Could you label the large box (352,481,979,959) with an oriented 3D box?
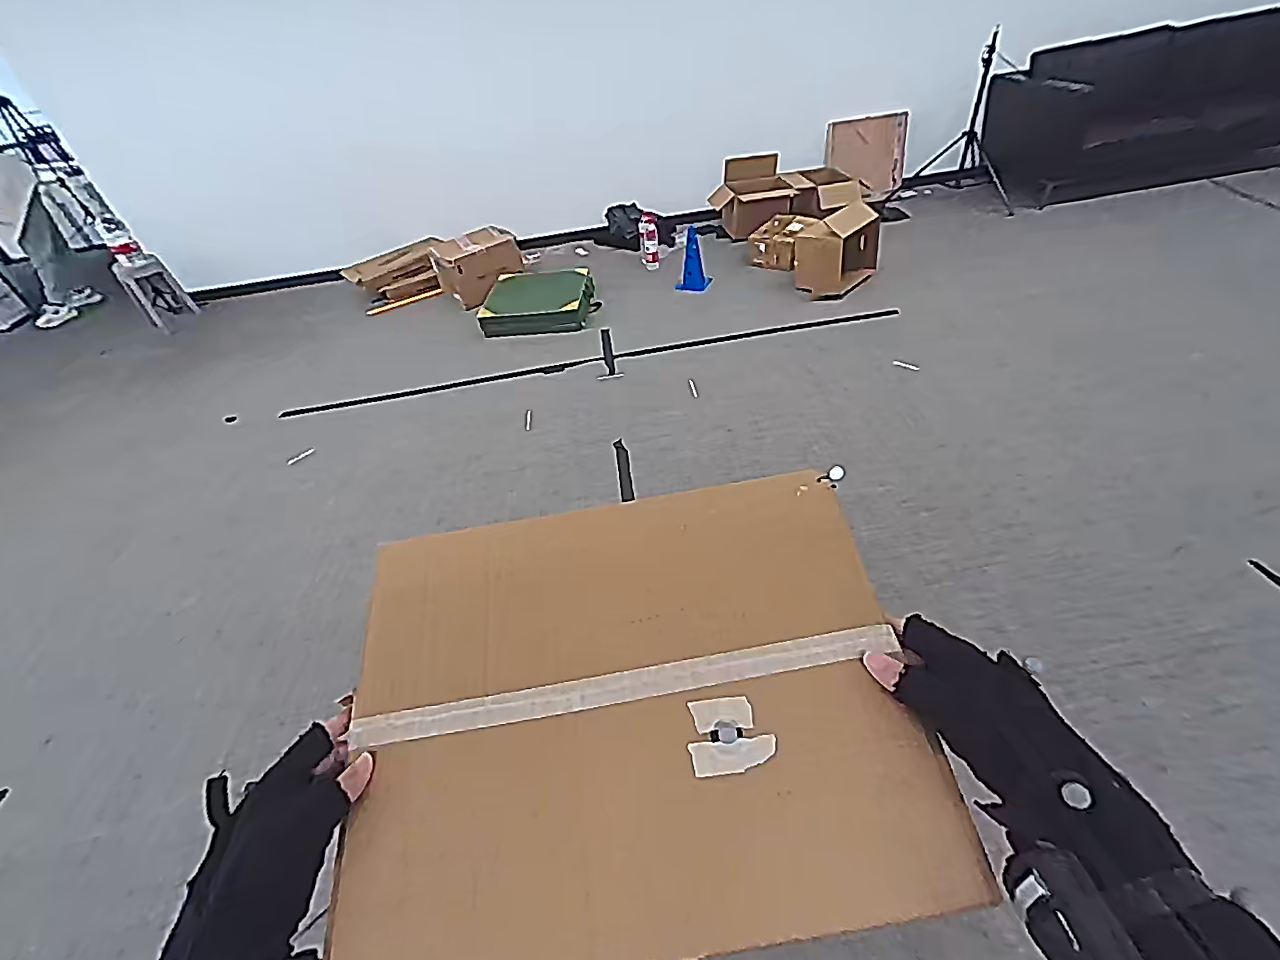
[{"bbox_3d":[0.006,0.243,0.535,0.408,0.320,0.320,-10,57,-1],"label":"large box"}]
